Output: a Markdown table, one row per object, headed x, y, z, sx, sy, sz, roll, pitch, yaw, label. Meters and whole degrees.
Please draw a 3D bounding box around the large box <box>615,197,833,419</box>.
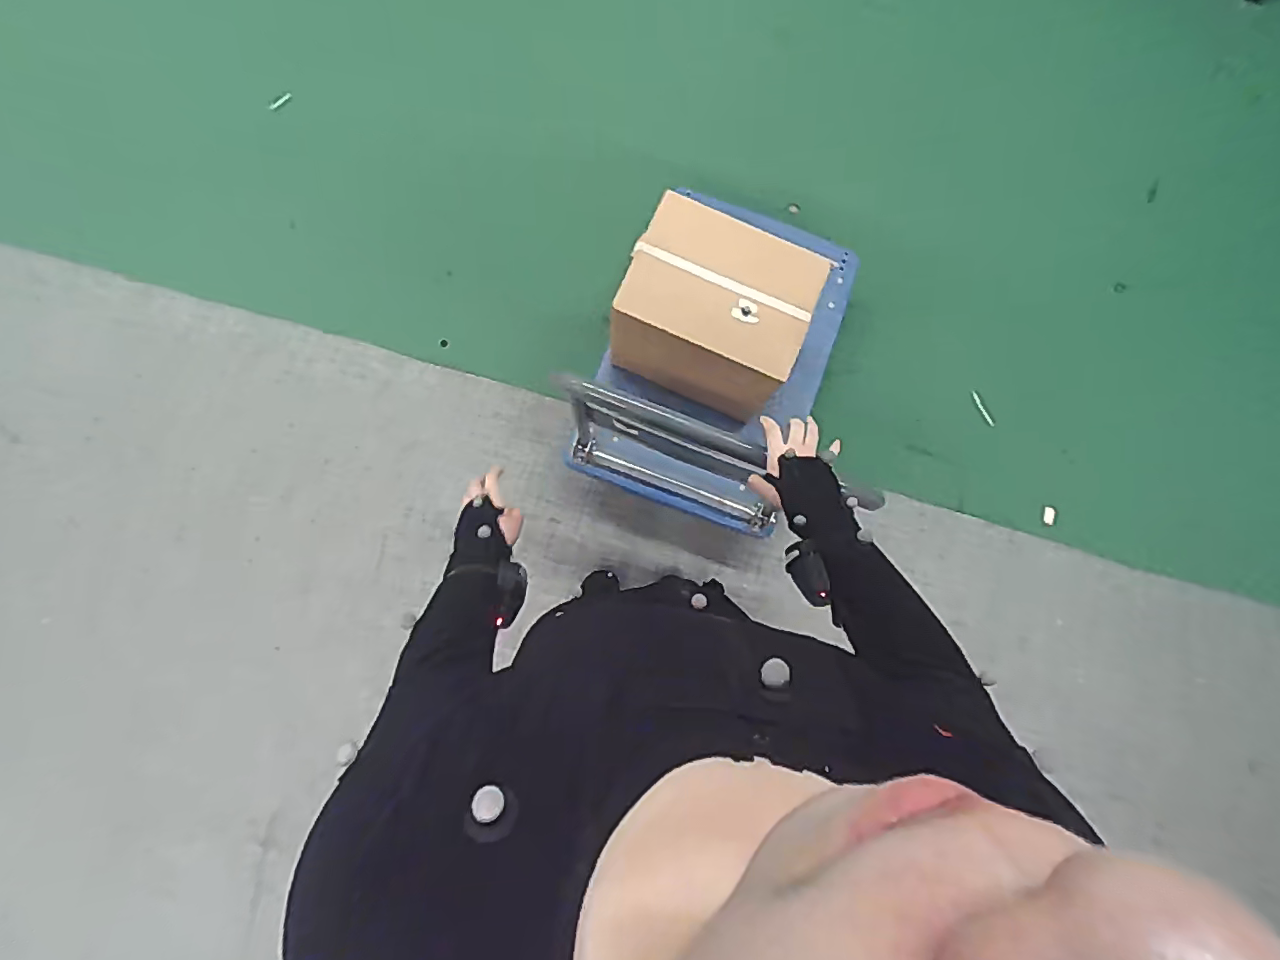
| x | y | z | sx | sy | sz | roll | pitch | yaw | label |
| --- | --- | --- | --- | --- | --- | --- | --- | --- | --- |
| 0.181 | -0.399 | 1.326 | 0.408 | 0.320 | 0.320 | 24 | 79 | 0 | large box |
